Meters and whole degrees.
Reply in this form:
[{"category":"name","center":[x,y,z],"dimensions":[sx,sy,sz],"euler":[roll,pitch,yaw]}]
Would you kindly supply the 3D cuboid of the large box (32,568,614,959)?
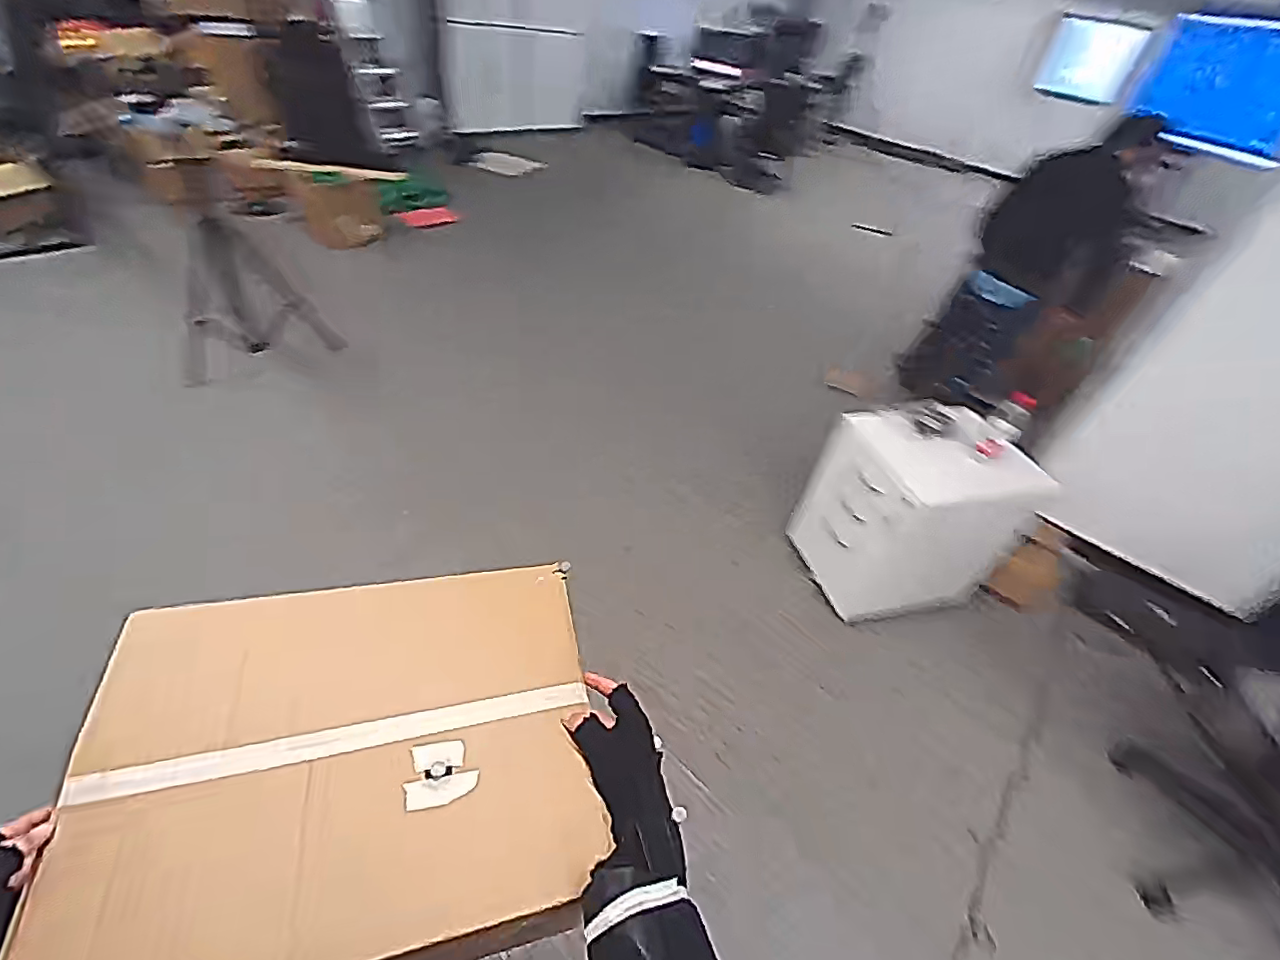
[{"category":"large box","center":[-0.278,0.335,0.593],"dimensions":[0.408,0.320,0.320],"euler":[-5,49,-19]}]
